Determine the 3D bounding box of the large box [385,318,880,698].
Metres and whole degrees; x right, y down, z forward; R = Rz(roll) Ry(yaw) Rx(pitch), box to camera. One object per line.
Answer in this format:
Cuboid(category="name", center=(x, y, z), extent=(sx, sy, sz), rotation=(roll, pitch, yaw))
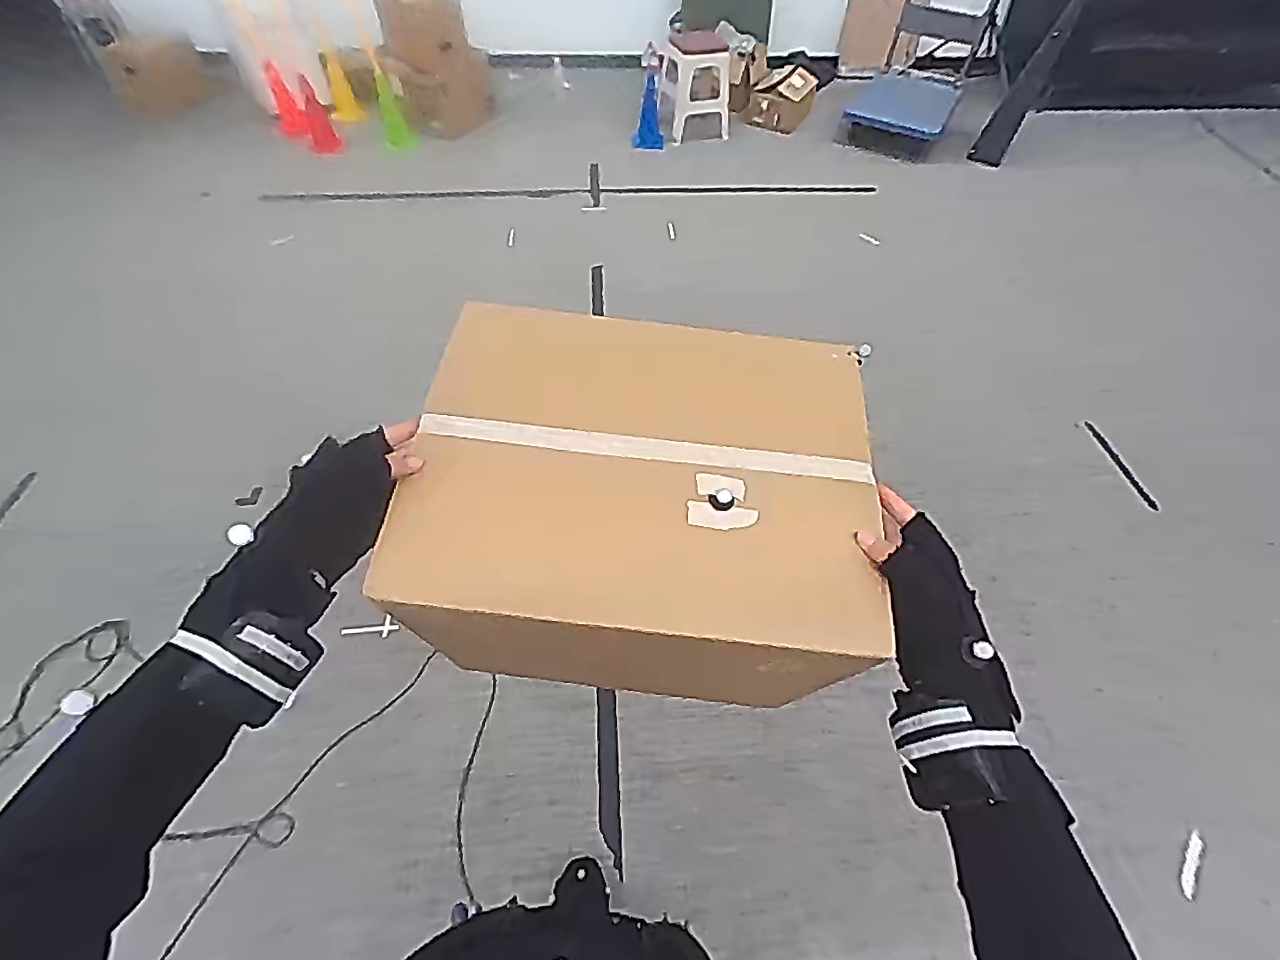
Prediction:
Cuboid(category="large box", center=(-0.003, 0.052, 0.627), extent=(0.408, 0.320, 0.320), rotation=(7, 61, 0))
